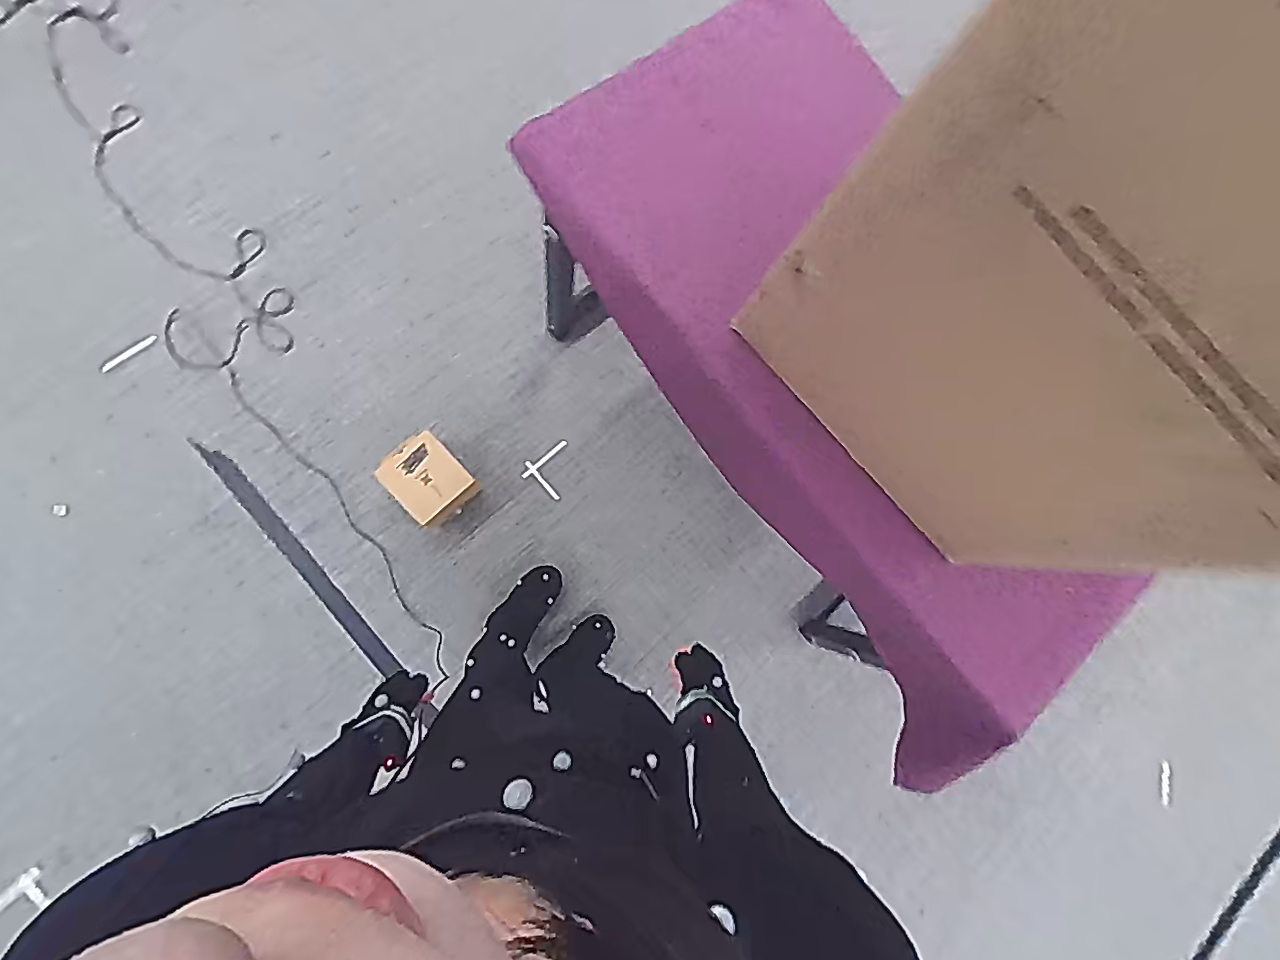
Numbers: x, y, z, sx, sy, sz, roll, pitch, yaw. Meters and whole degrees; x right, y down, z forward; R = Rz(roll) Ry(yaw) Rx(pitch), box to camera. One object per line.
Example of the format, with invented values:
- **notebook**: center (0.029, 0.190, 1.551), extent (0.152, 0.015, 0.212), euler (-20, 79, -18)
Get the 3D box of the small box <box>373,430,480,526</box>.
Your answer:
- **small box**: center (-0.530, 0.003, 1.367), extent (0.168, 0.176, 0.179), euler (-43, 92, -11)
